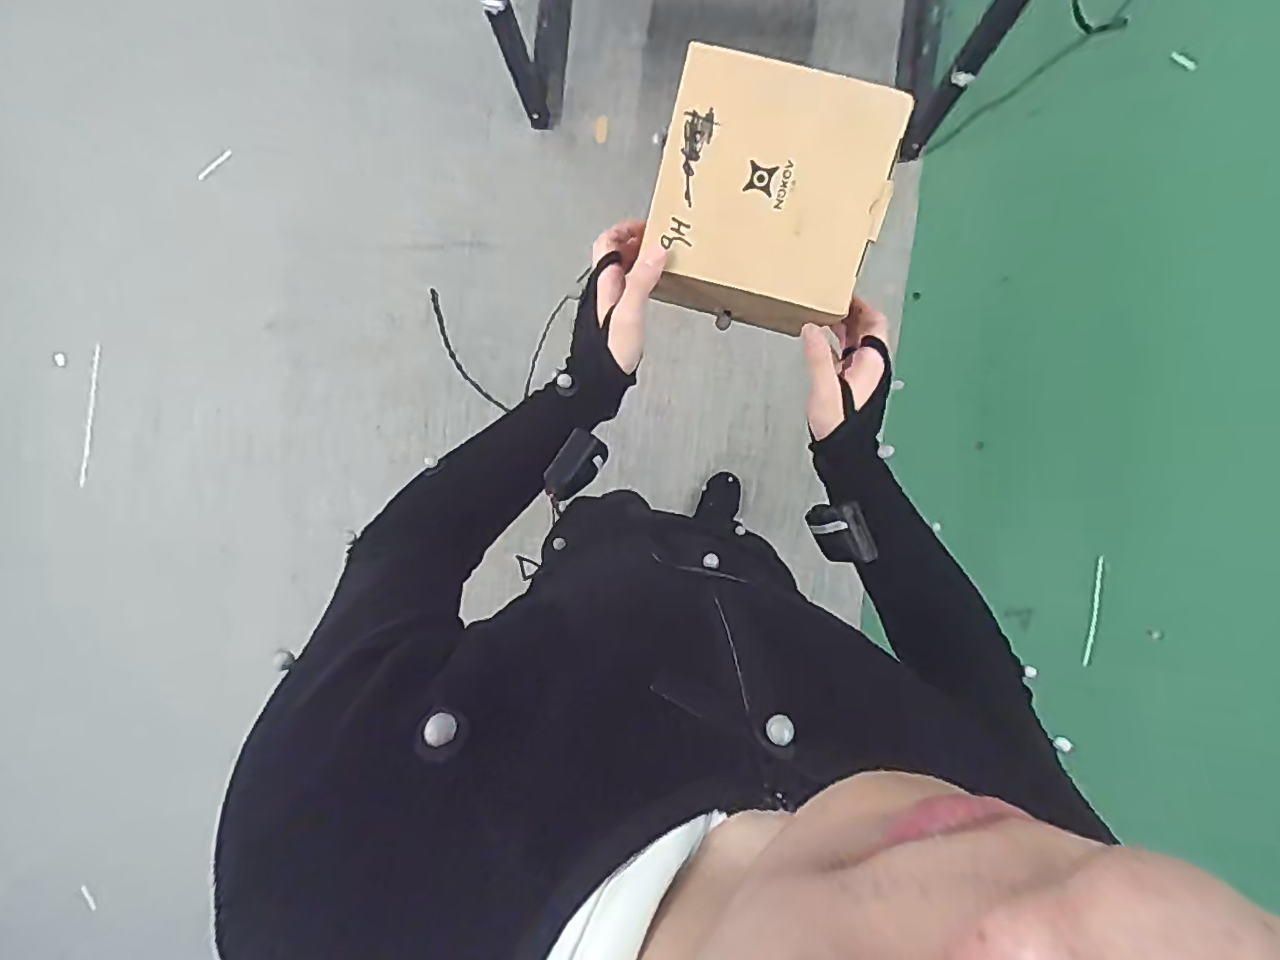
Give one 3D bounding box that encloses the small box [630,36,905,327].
[{"bbox_3d":[0.099,-0.245,0.495,0.179,0.176,0.168,15,99,0],"label":"small box"}]
